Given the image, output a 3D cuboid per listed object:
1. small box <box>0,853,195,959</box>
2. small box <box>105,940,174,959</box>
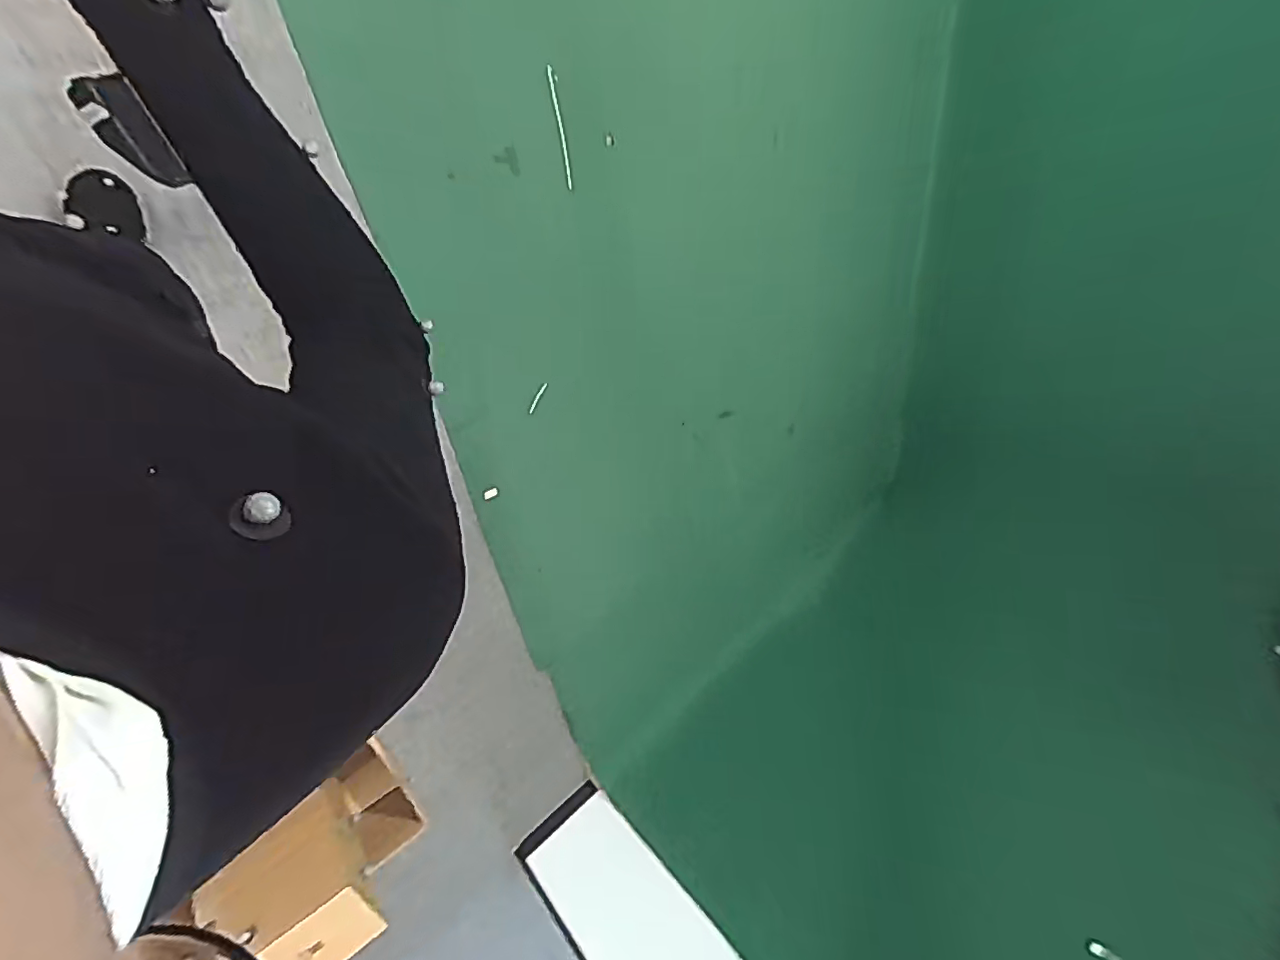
[{"bbox_3d":[-0.843,0.739,0.842,0.179,0.176,0.168,-29,128,-32],"label":"small box"},{"bbox_3d":[-0.736,0.796,0.732,0.179,0.176,0.168,-31,129,-31],"label":"small box"}]
